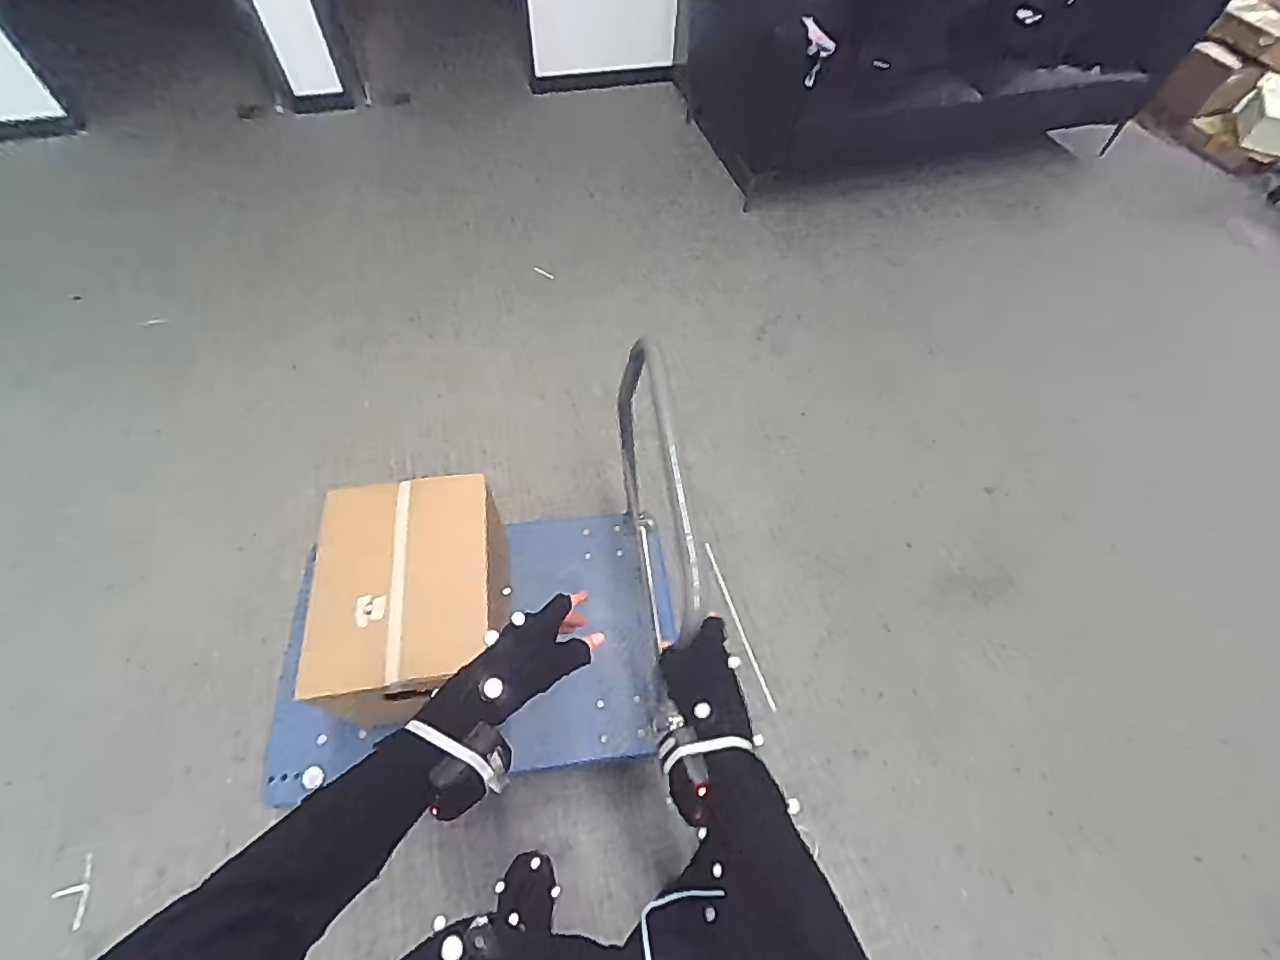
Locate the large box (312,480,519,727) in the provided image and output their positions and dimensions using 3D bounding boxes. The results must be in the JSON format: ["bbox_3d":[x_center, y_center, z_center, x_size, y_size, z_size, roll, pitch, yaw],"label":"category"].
[{"bbox_3d":[-0.438,0.260,1.134,0.320,0.320,0.408,-8,59,-7],"label":"large box"}]
